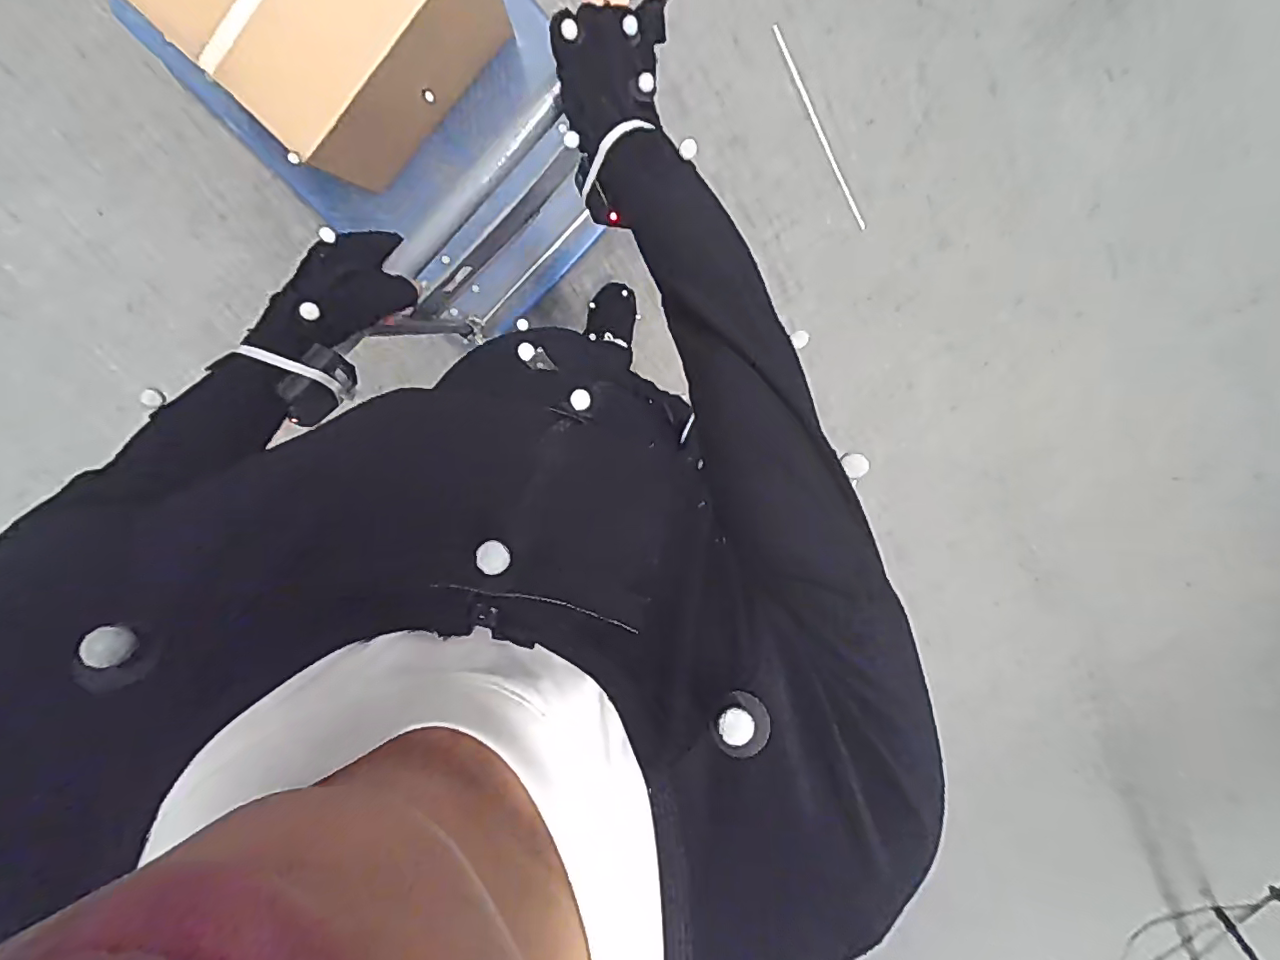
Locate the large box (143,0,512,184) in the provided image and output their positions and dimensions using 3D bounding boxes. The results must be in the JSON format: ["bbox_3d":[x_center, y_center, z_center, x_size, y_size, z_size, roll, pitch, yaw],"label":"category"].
[{"bbox_3d":[-0.464,-0.769,0.866,0.408,0.320,0.320,-44,107,12],"label":"large box"}]
